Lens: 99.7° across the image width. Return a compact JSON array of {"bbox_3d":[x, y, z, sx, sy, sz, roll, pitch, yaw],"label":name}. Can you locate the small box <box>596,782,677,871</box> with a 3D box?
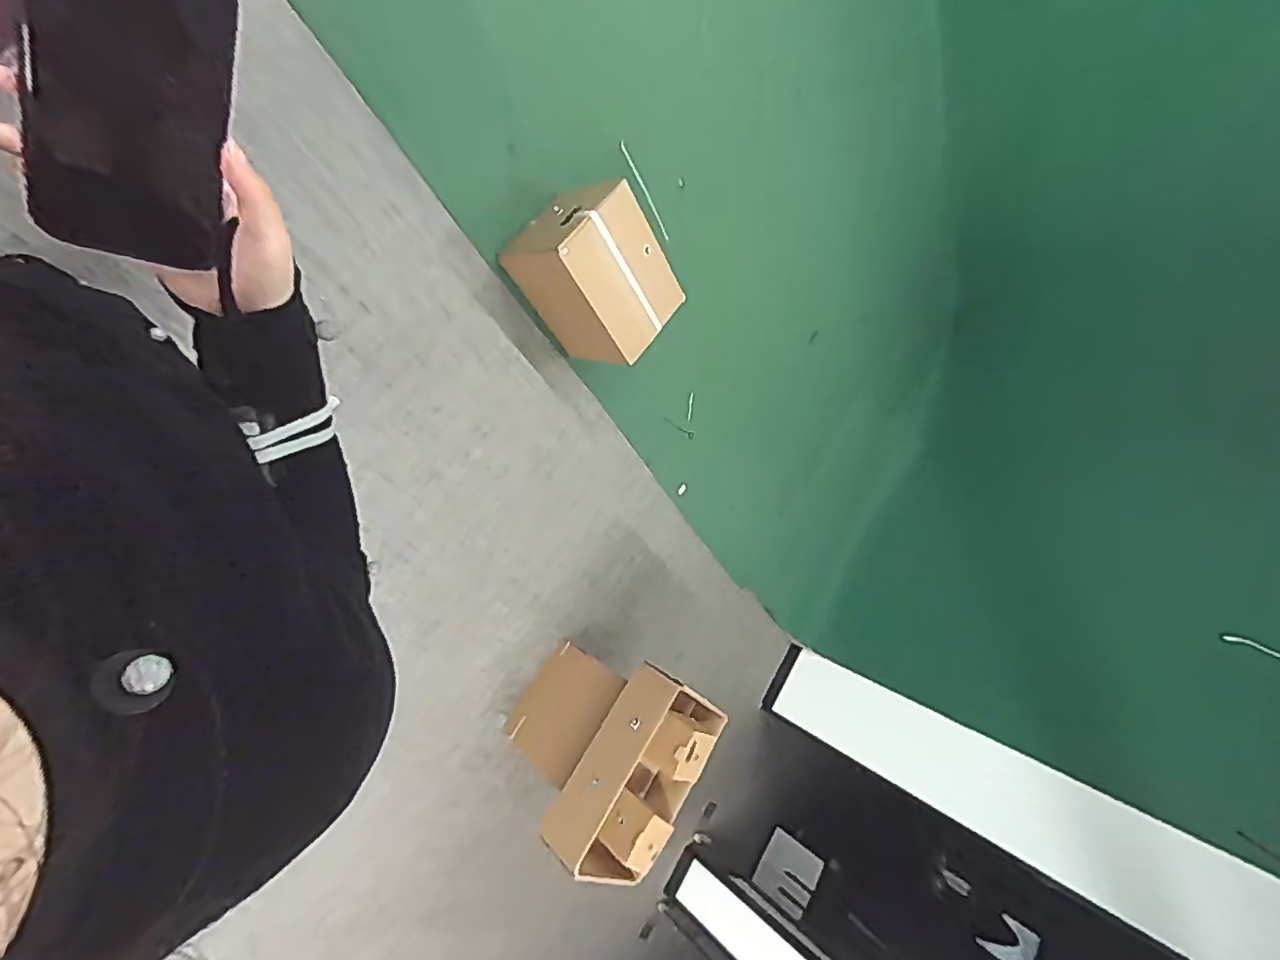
[{"bbox_3d":[-0.015,1.138,1.786,0.168,0.176,0.179,-50,132,-21],"label":"small box"}]
